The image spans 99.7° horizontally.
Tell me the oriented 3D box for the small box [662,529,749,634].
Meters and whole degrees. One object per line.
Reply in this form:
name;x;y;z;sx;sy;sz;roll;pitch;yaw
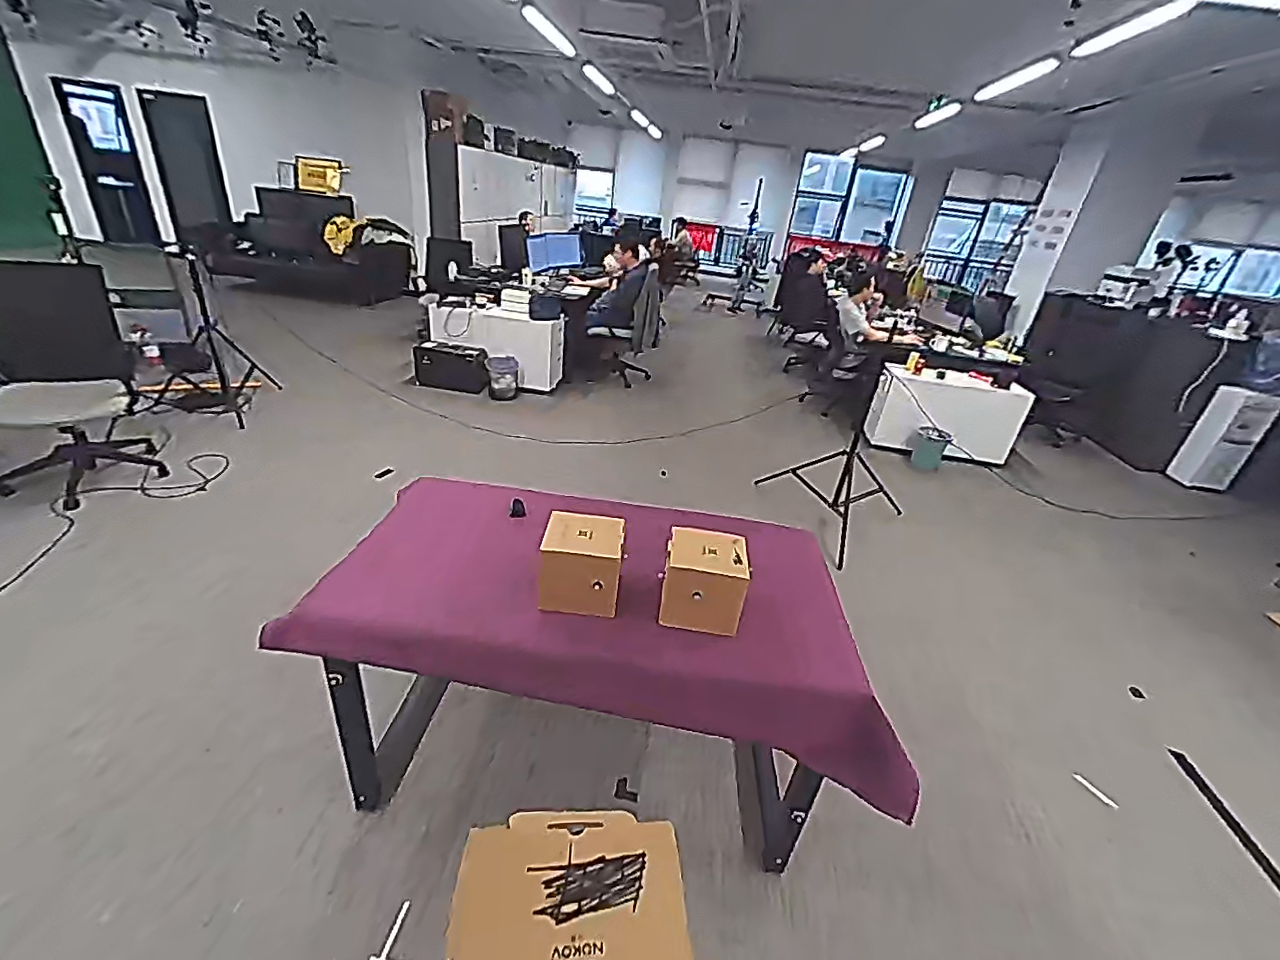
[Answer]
small box;0.147;0.233;1.248;0.179;0.176;0.168;7;27;3

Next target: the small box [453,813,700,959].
small box;-0.058;0.385;0.416;0.168;0.176;0.179;7;39;-15

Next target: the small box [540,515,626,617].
small box;-0.130;0.200;1.254;0.179;0.176;0.168;5;26;-2
